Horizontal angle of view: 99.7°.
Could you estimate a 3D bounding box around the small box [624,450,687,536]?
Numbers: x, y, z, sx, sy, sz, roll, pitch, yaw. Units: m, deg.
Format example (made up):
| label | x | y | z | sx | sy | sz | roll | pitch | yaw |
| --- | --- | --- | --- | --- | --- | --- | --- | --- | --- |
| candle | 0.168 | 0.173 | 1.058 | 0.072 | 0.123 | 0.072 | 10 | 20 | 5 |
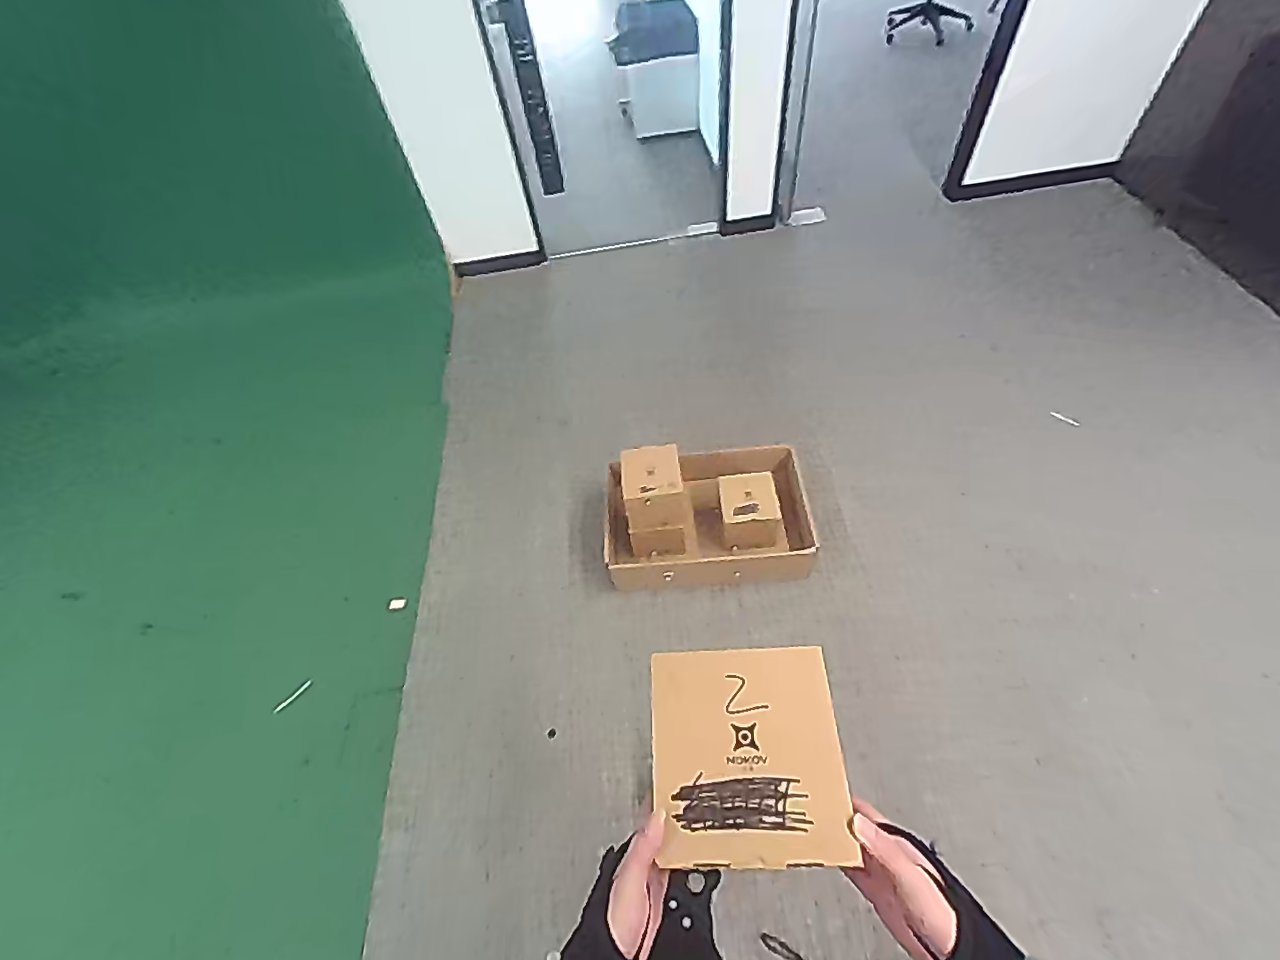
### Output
| label | x | y | z | sx | sy | sz | roll | pitch | yaw |
| --- | --- | --- | --- | --- | --- | --- | --- | --- | --- |
| small box | 0.045 | 0.040 | 1.565 | 0.168 | 0.176 | 0.179 | -7 | 51 | 3 |
